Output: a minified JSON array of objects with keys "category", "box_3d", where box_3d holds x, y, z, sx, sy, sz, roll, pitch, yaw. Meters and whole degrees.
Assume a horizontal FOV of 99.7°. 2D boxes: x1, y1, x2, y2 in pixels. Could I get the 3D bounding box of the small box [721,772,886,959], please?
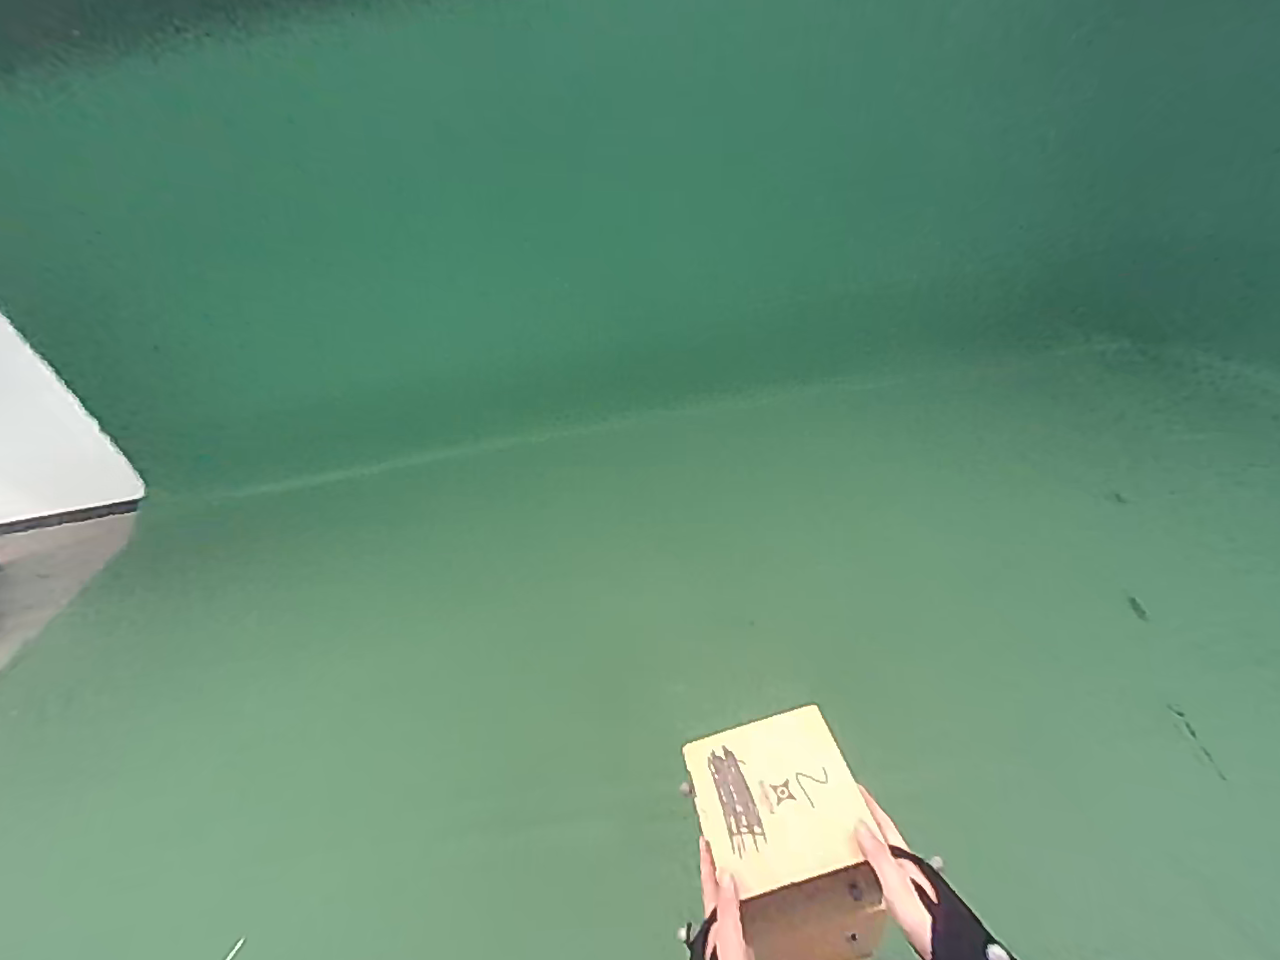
[{"category":"small box","box_3d":[0.222,0.551,0.770,0.179,0.176,0.168,-11,35,1]}]
